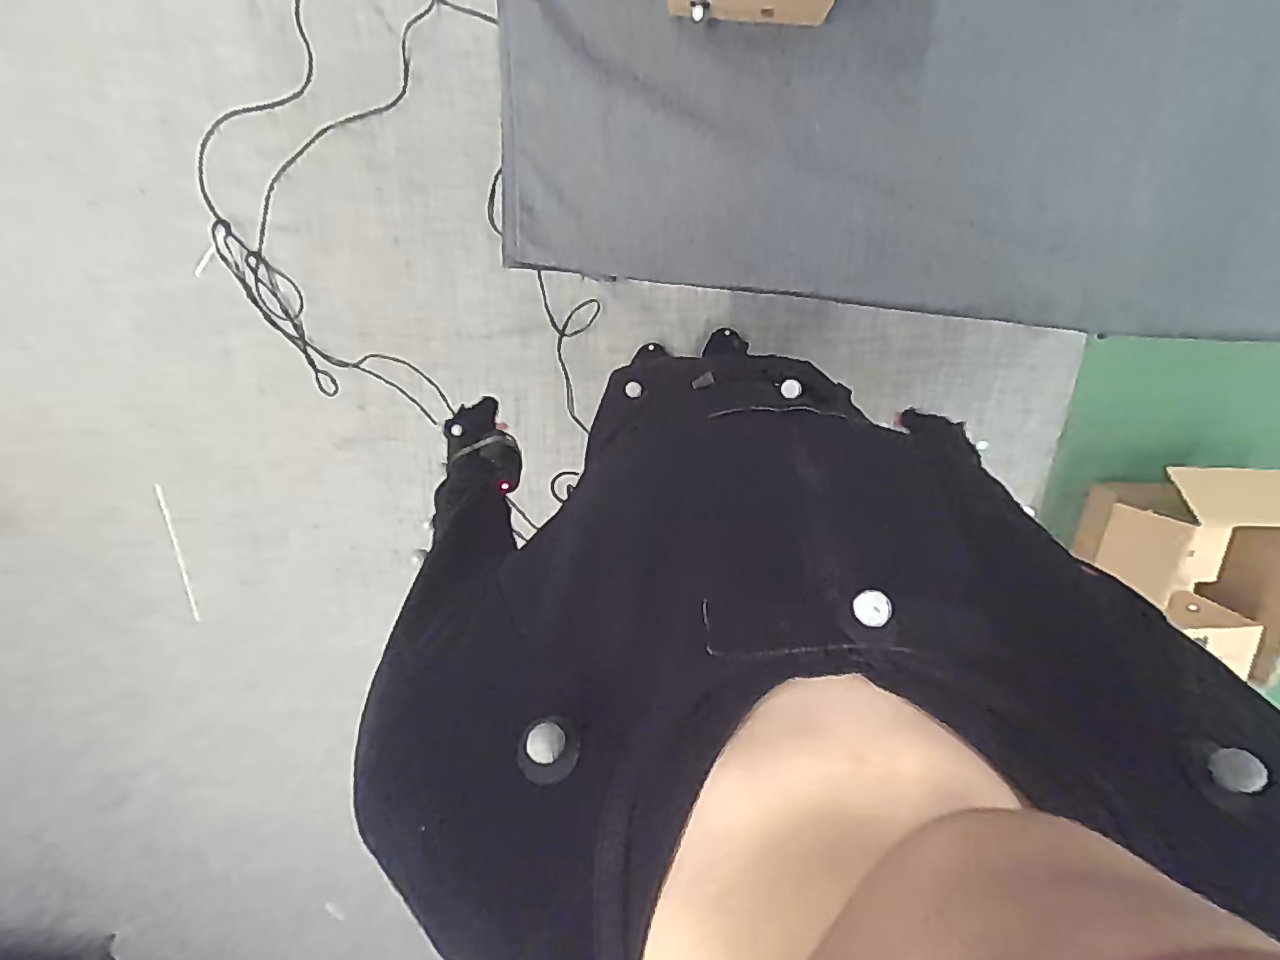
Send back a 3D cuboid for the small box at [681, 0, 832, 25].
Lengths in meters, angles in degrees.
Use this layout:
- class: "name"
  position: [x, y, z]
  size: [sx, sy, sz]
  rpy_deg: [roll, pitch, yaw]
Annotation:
- class: "small box"
  position: [0.117, -0.548, 0.480]
  size: [0.168, 0.176, 0.179]
  rpy_deg: [5, 107, 1]
